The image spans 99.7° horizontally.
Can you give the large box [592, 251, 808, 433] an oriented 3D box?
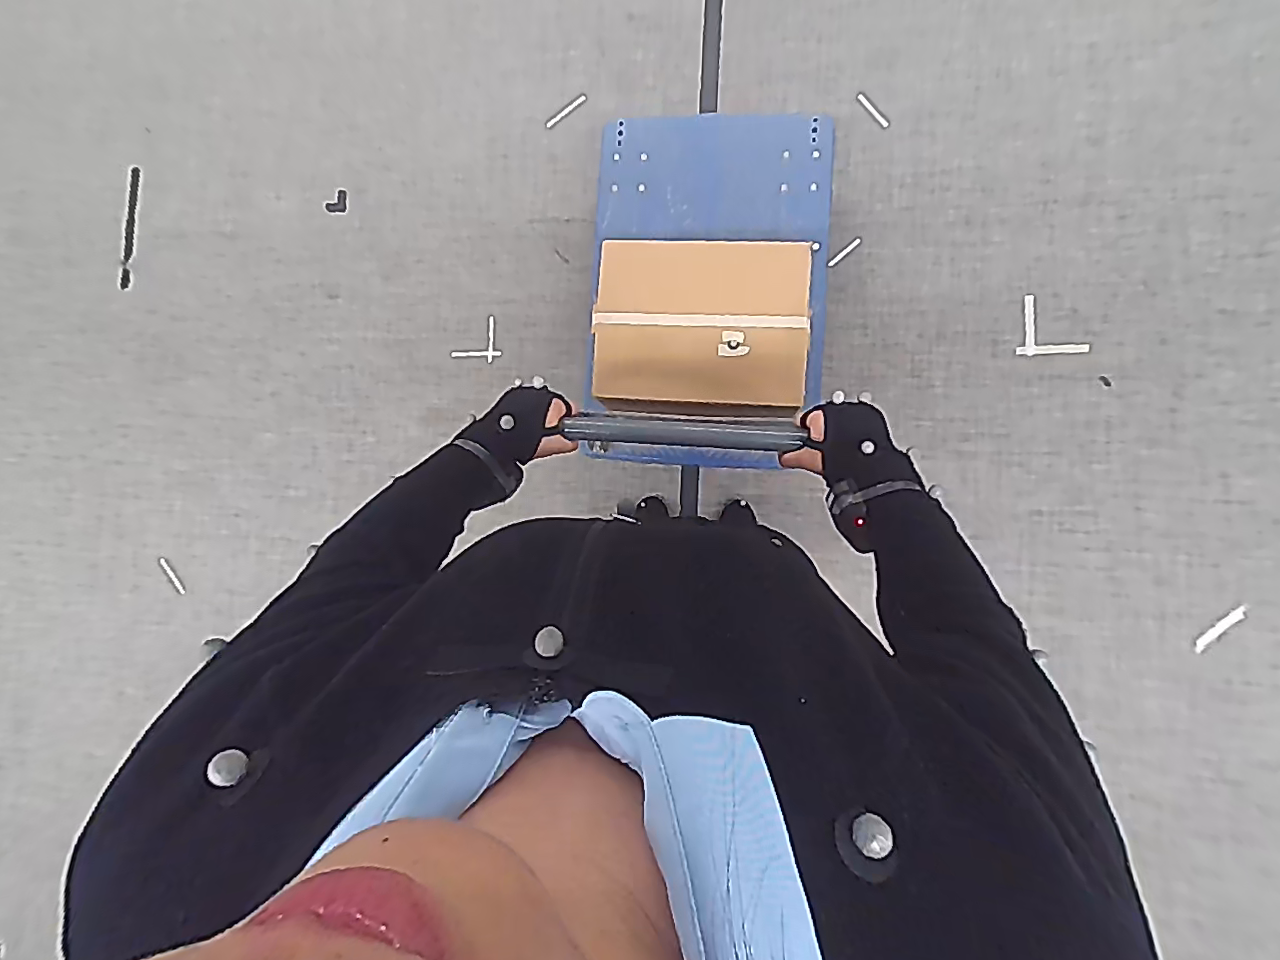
[{"bbox_3d":[0.125,-0.278,1.178,0.408,0.320,0.320,3,89,7],"label":"large box"}]
